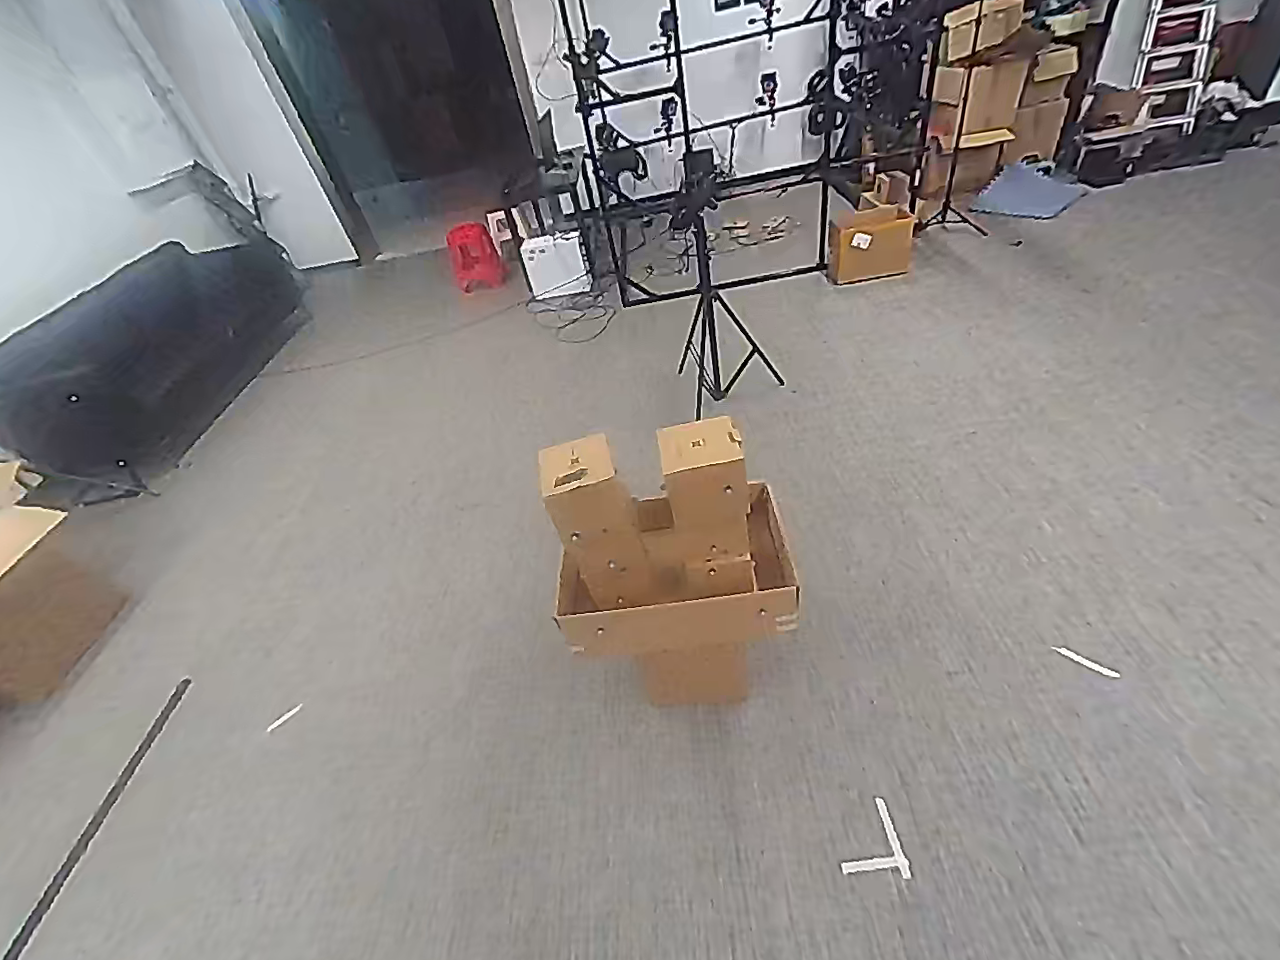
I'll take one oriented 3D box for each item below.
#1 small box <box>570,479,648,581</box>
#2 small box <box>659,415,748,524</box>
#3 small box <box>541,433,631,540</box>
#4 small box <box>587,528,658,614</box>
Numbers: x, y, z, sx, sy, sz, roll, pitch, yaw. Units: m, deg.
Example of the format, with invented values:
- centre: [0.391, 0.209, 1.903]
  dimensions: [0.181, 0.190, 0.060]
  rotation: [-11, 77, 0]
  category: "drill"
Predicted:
- centre: [-0.084, 0.129, 1.391]
  dimensions: [0.168, 0.176, 0.179]
  rotation: [-14, 42, 1]
  category: "small box"
- centre: [0.147, -0.021, 1.239]
  dimensions: [0.179, 0.176, 0.168]
  rotation: [-11, 40, 5]
  category: "small box"
- centre: [-0.126, 0.022, 1.273]
  dimensions: [0.168, 0.176, 0.179]
  rotation: [-16, 41, -1]
  category: "small box"
- centre: [-0.055, 0.243, 1.506]
  dimensions: [0.168, 0.176, 0.179]
  rotation: [-15, 41, 1]
  category: "small box"
